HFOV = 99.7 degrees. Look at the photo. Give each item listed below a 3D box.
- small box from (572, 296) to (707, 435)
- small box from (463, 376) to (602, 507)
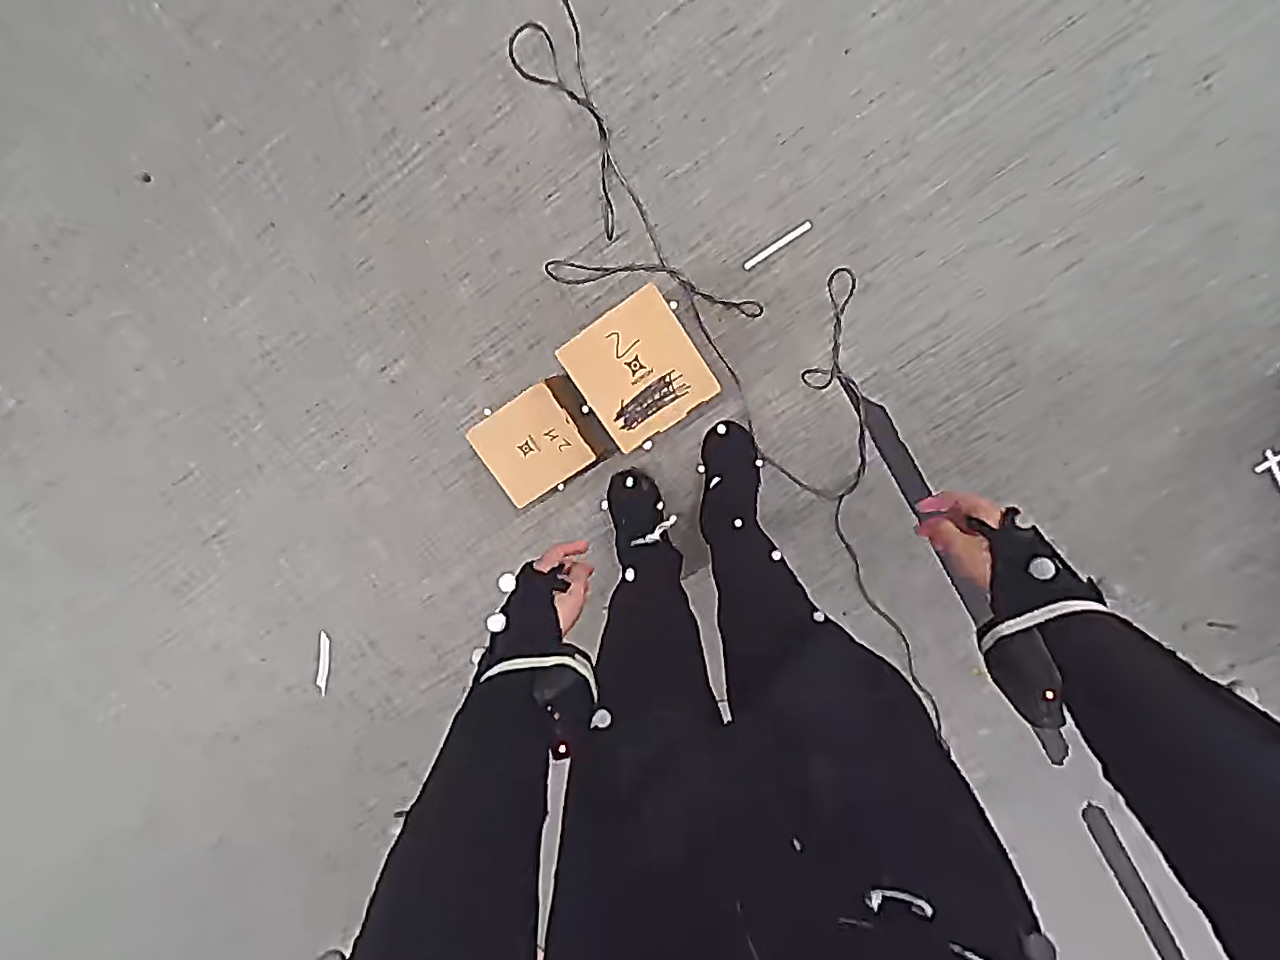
[{"bbox_3d":[0.000,-0.205,0.976,0.168,0.176,0.179,-33,101,10],"label":"small box"},{"bbox_3d":[-0.189,-0.078,1.015,0.179,0.176,0.168,-32,101,11],"label":"small box"}]
